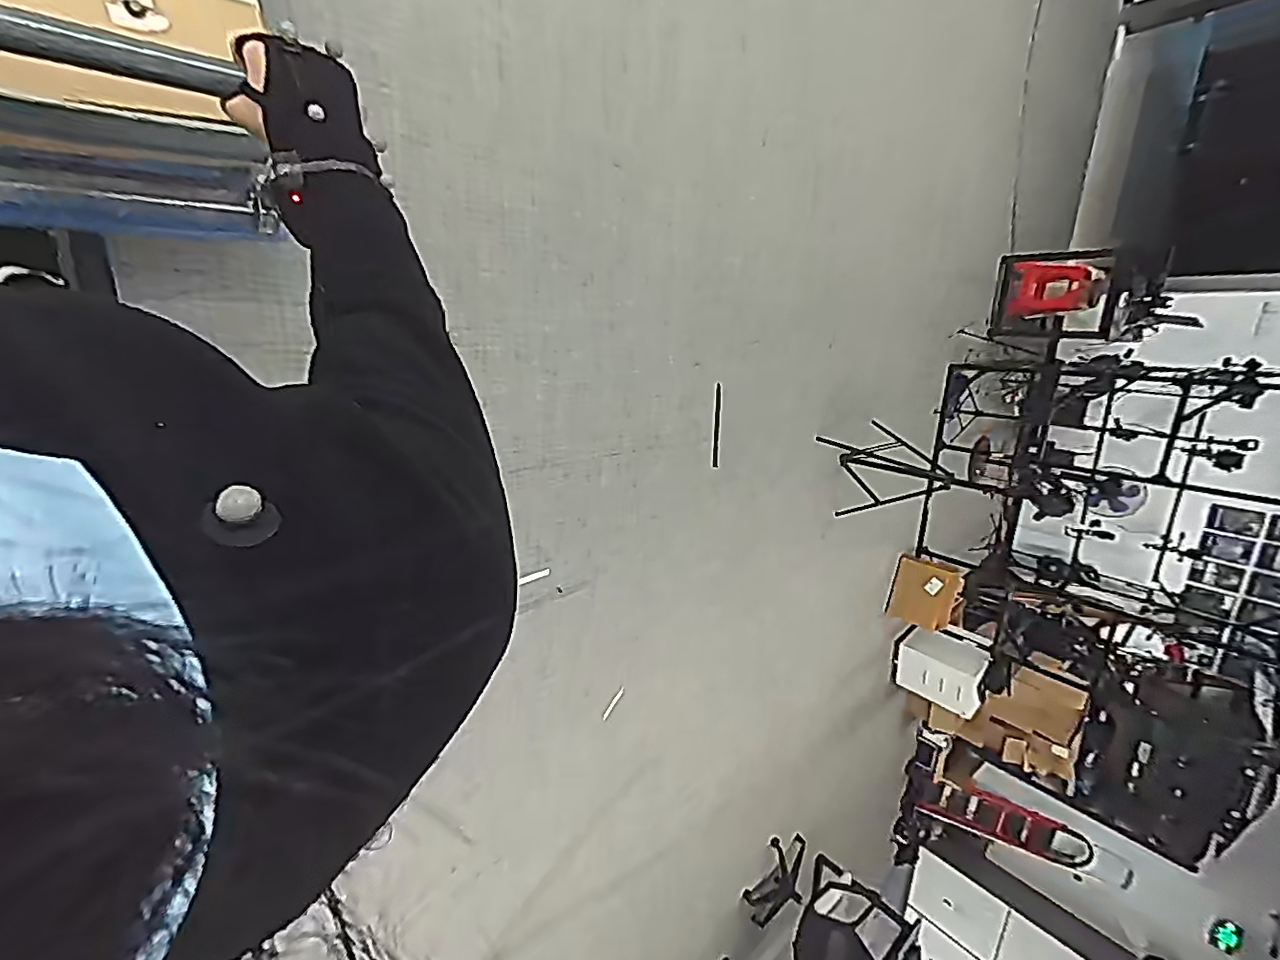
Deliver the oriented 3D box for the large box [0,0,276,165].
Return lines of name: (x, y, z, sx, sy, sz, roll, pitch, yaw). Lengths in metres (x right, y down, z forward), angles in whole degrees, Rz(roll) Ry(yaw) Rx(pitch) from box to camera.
large box: (-0.790, -0.644, 0.728, 0.408, 0.320, 0.320, -19, 116, -39)
